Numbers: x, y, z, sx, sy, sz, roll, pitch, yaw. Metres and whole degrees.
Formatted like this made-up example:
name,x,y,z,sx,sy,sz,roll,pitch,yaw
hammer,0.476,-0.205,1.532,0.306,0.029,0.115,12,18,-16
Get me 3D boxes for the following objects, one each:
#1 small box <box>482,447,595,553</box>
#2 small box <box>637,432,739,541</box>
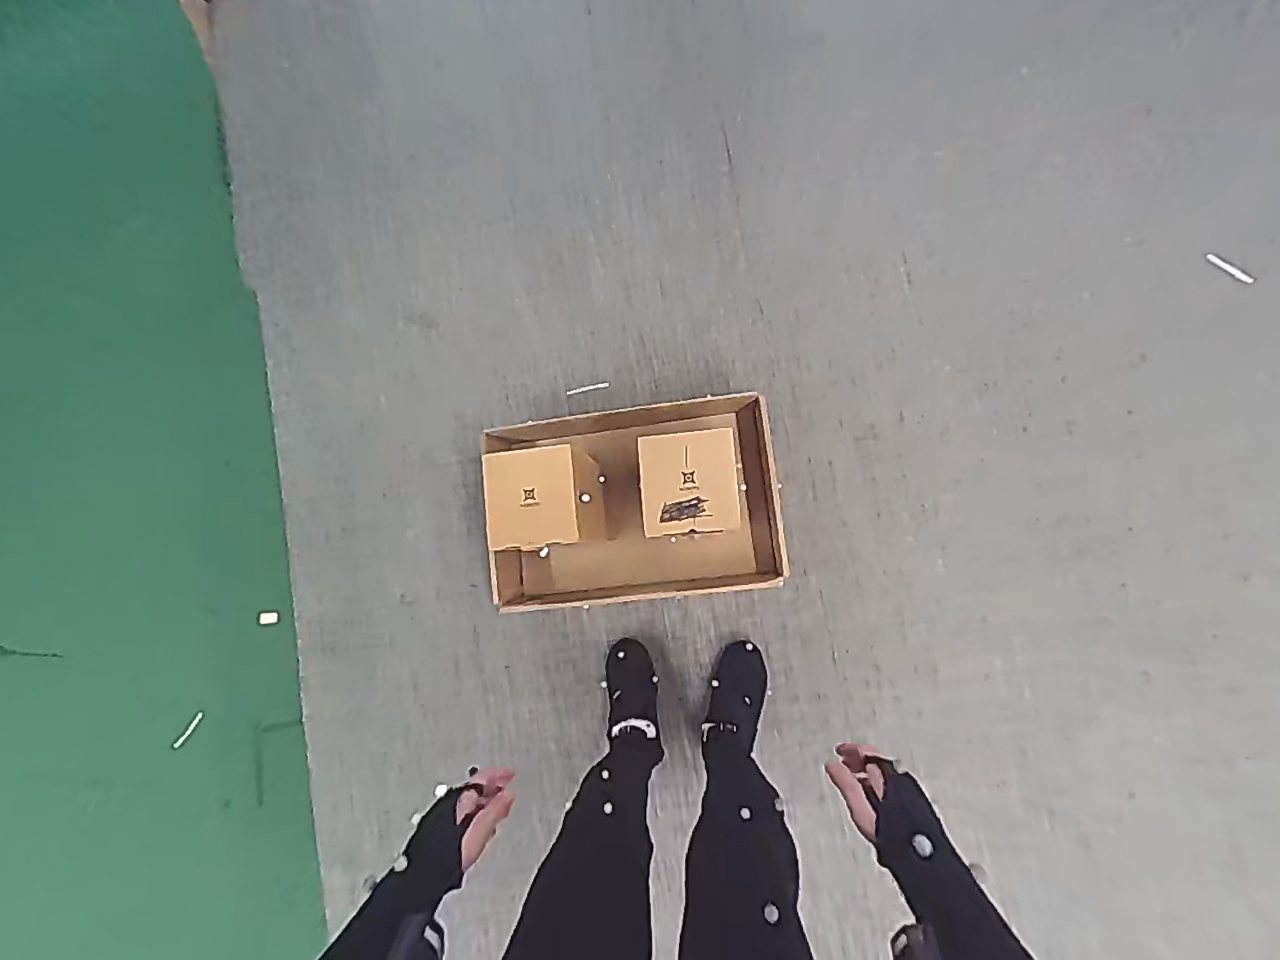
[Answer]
name,x,y,z,sx,sy,sz,roll,pitch,yaw
small box,-0.187,0.044,1.025,0.168,0.176,0.179,-6,83,7
small box,0.092,0.018,0.985,0.168,0.176,0.179,-5,83,9
